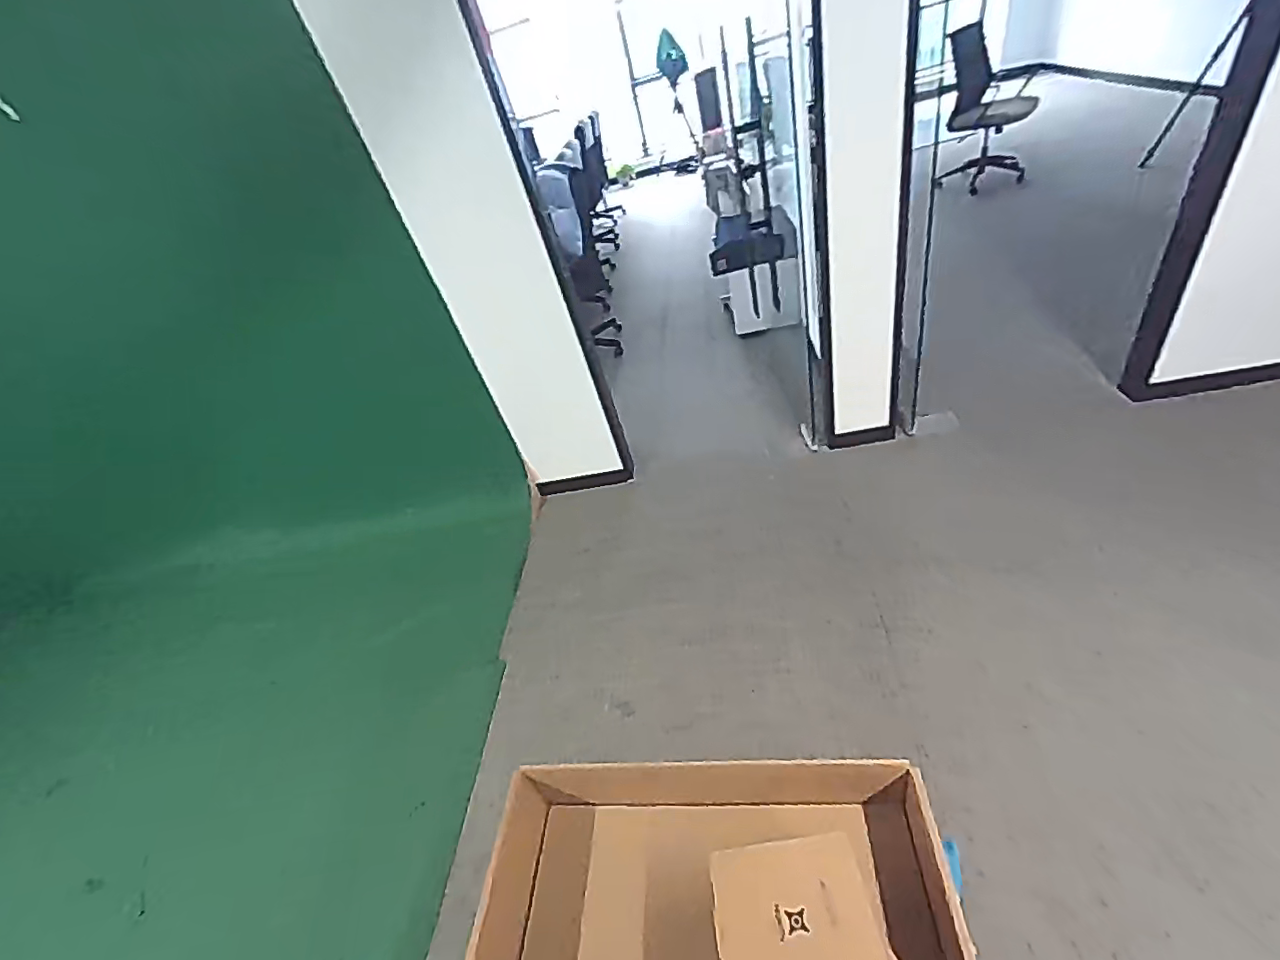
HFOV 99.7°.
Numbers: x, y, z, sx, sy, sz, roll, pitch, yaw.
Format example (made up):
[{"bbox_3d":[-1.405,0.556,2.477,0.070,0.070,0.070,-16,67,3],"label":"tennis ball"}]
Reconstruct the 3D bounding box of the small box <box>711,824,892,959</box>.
[{"bbox_3d":[0.193,0.545,0.639,0.179,0.176,0.168,-13,32,8],"label":"small box"}]
